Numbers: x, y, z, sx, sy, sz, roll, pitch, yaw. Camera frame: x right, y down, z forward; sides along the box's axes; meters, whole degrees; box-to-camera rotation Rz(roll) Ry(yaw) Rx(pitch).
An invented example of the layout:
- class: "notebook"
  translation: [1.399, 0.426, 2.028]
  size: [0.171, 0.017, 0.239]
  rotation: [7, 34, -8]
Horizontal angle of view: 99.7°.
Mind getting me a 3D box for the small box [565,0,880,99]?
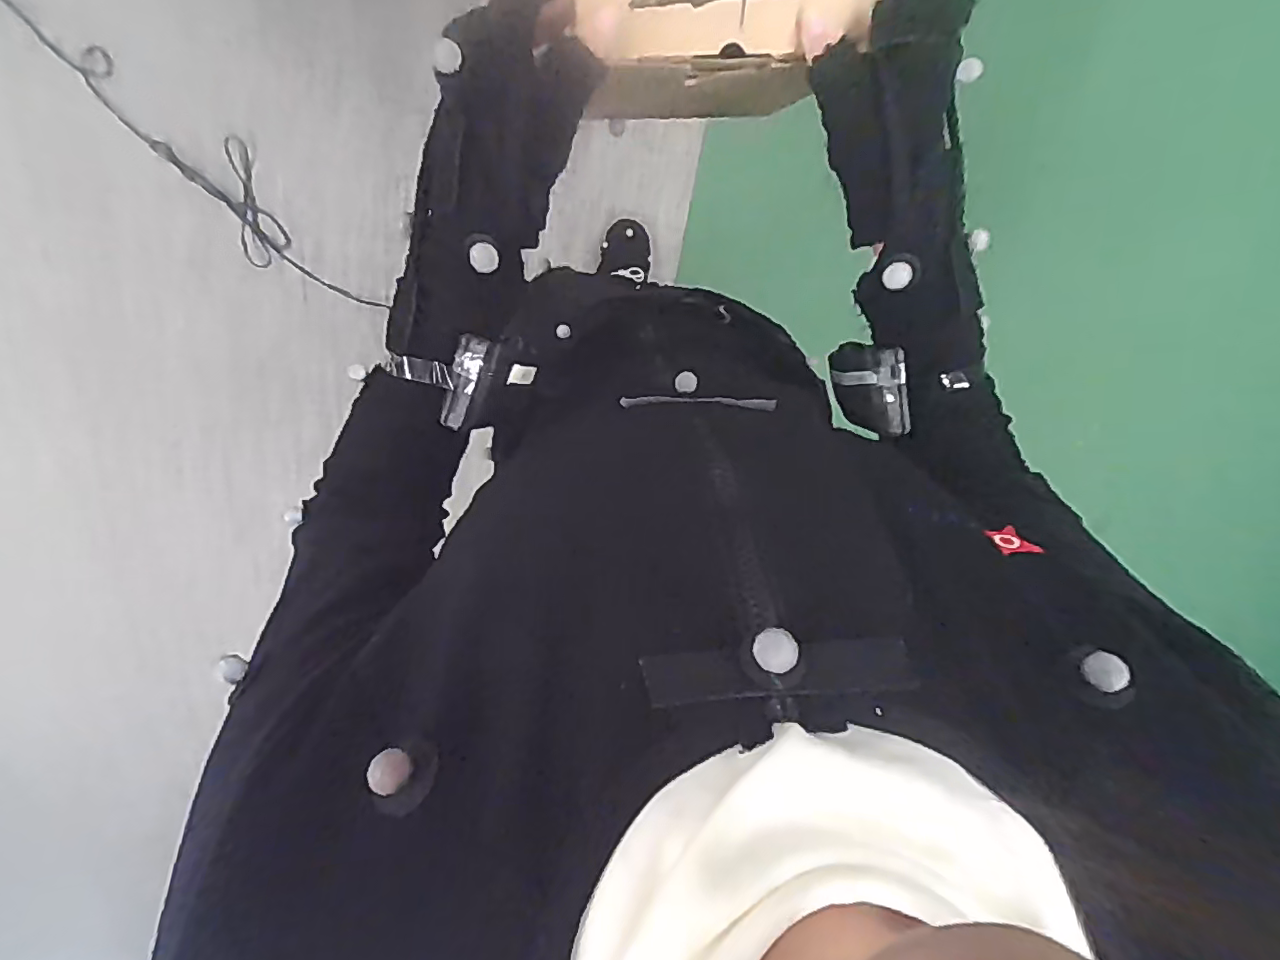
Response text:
- class: "small box"
  translation: [0.036, -0.345, 0.324]
  size: [0.168, 0.176, 0.179]
  rotation: [-5, 115, -6]
